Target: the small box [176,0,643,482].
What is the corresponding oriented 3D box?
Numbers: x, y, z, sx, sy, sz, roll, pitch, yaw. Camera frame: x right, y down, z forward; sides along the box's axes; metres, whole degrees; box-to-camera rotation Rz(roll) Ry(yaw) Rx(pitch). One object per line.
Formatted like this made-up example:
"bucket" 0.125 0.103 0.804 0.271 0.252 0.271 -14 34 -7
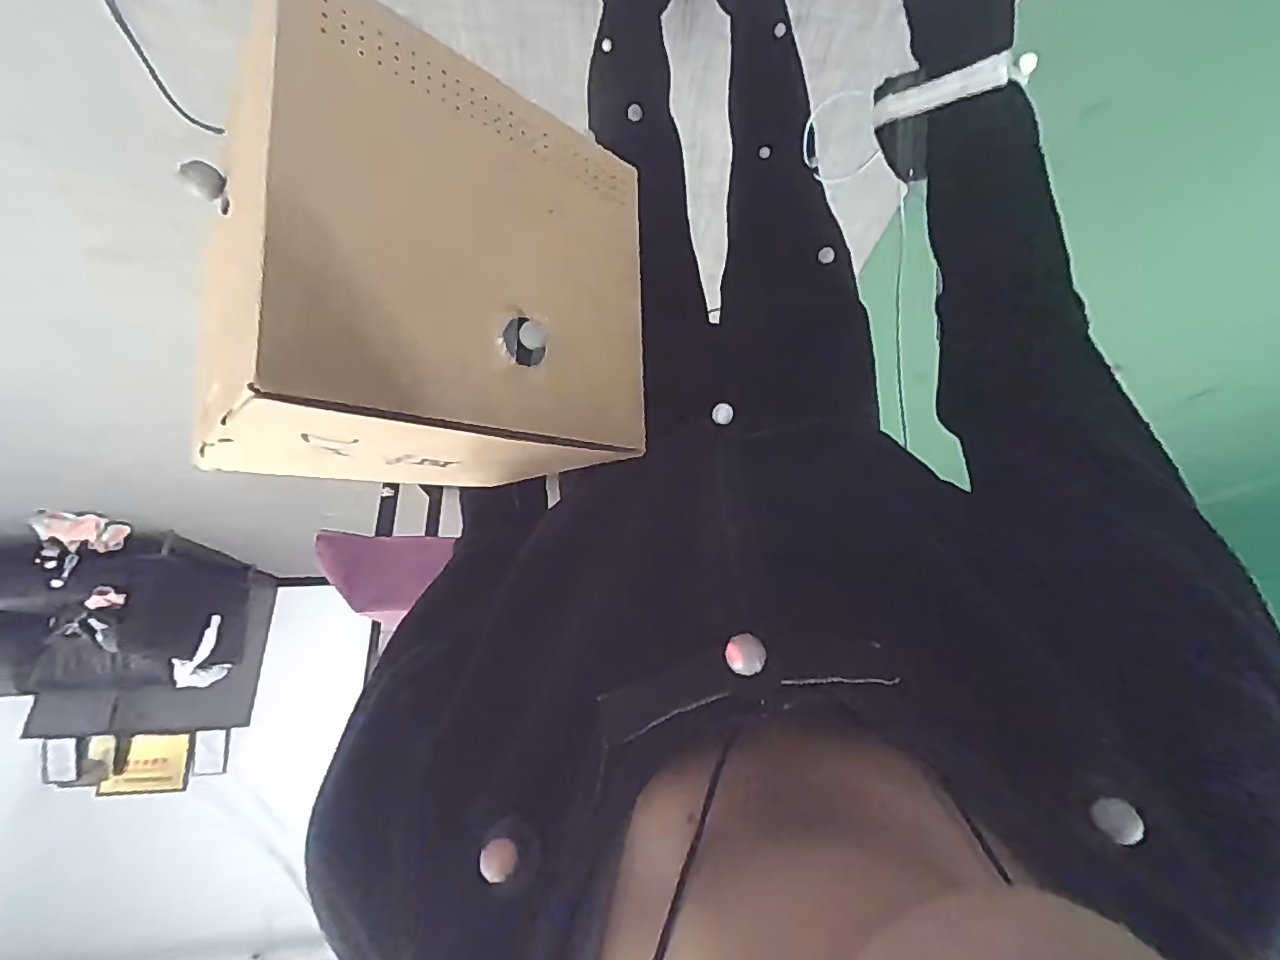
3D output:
"small box" -0.116 -0.096 0.286 0.168 0.176 0.179 -11 168 43
